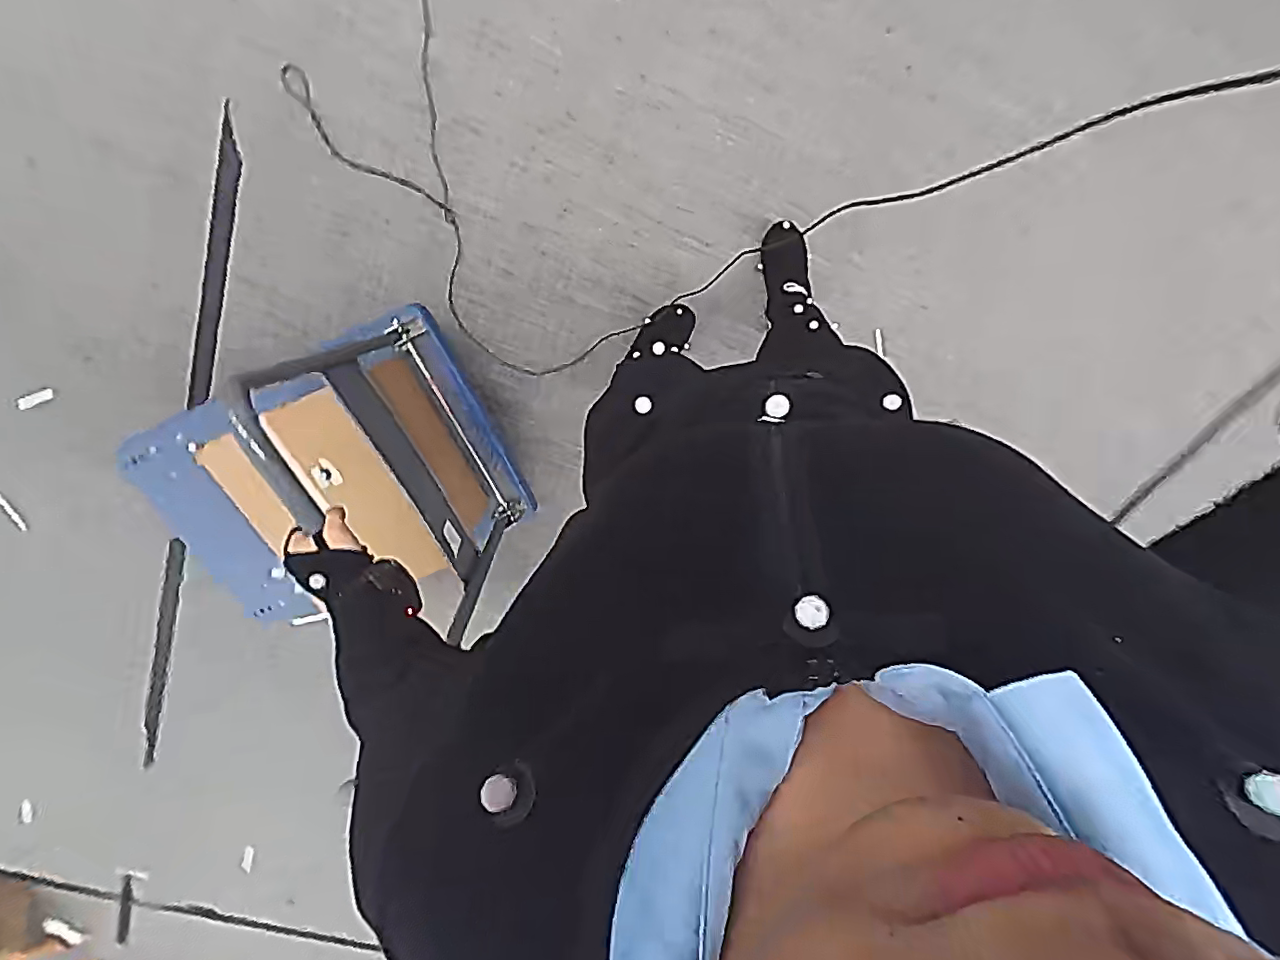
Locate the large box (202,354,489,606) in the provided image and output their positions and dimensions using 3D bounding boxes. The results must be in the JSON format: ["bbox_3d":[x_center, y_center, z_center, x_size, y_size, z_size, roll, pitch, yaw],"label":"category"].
[{"bbox_3d":[-0.591,-0.010,1.179,0.320,0.320,0.408,-22,111,7],"label":"large box"}]
